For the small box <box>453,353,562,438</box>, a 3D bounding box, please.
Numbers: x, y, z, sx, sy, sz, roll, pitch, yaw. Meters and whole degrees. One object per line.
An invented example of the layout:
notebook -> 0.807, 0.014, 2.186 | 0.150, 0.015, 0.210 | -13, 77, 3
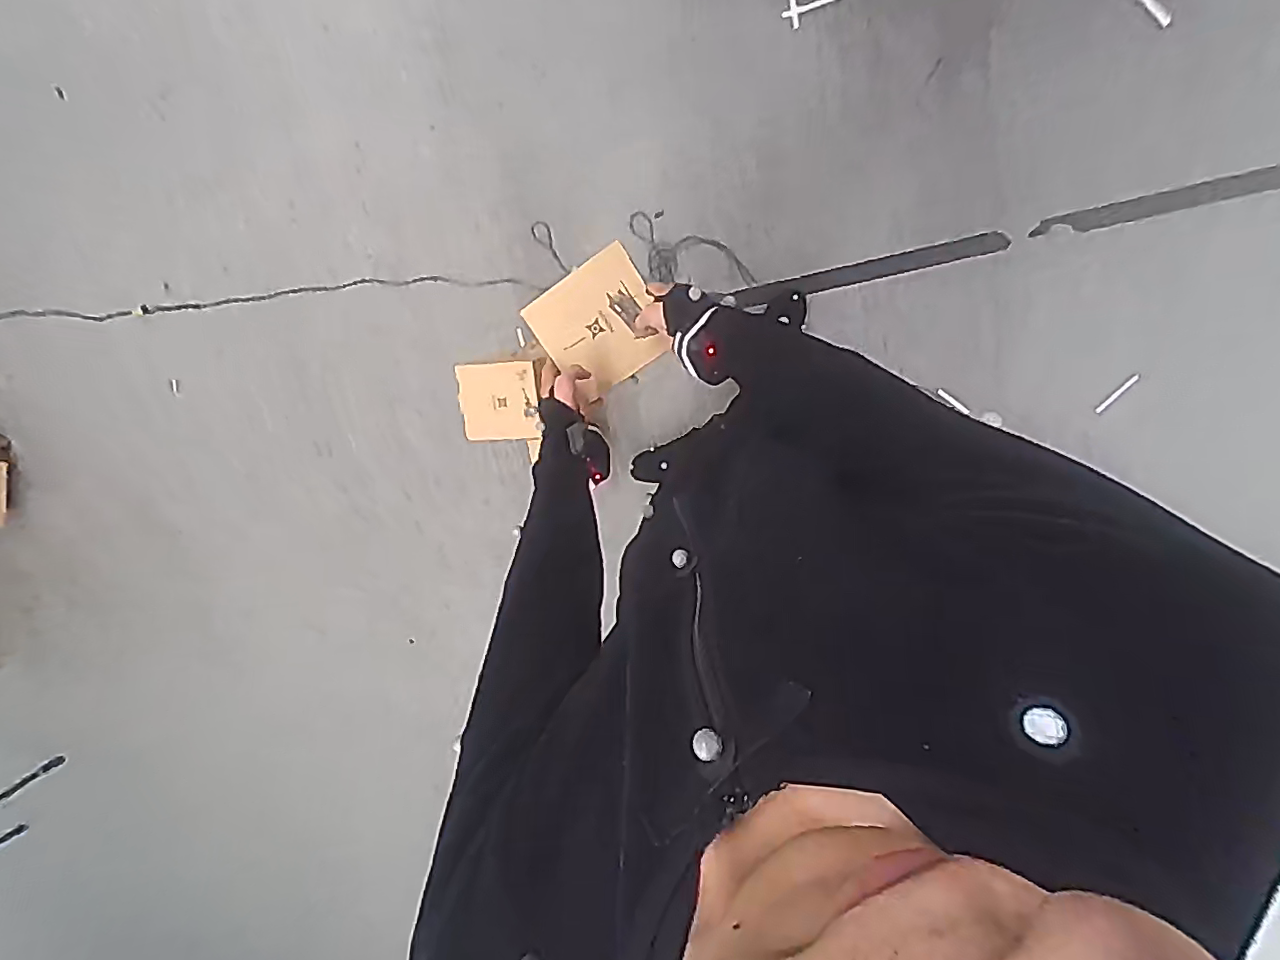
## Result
small box -> -0.292, -0.194, 1.223 | 0.179, 0.176, 0.168 | -1, 110, 10

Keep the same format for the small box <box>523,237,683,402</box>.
small box -> -0.050, -0.244, 0.846 | 0.179, 0.176, 0.168 | -32, 100, 10

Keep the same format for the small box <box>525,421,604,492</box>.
small box -> -0.217, -0.072, 1.603 | 0.179, 0.176, 0.168 | -5, 109, 10

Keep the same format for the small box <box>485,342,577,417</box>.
small box -> -0.271, -0.251, 1.376 | 0.168, 0.176, 0.179 | -8, 108, 11
